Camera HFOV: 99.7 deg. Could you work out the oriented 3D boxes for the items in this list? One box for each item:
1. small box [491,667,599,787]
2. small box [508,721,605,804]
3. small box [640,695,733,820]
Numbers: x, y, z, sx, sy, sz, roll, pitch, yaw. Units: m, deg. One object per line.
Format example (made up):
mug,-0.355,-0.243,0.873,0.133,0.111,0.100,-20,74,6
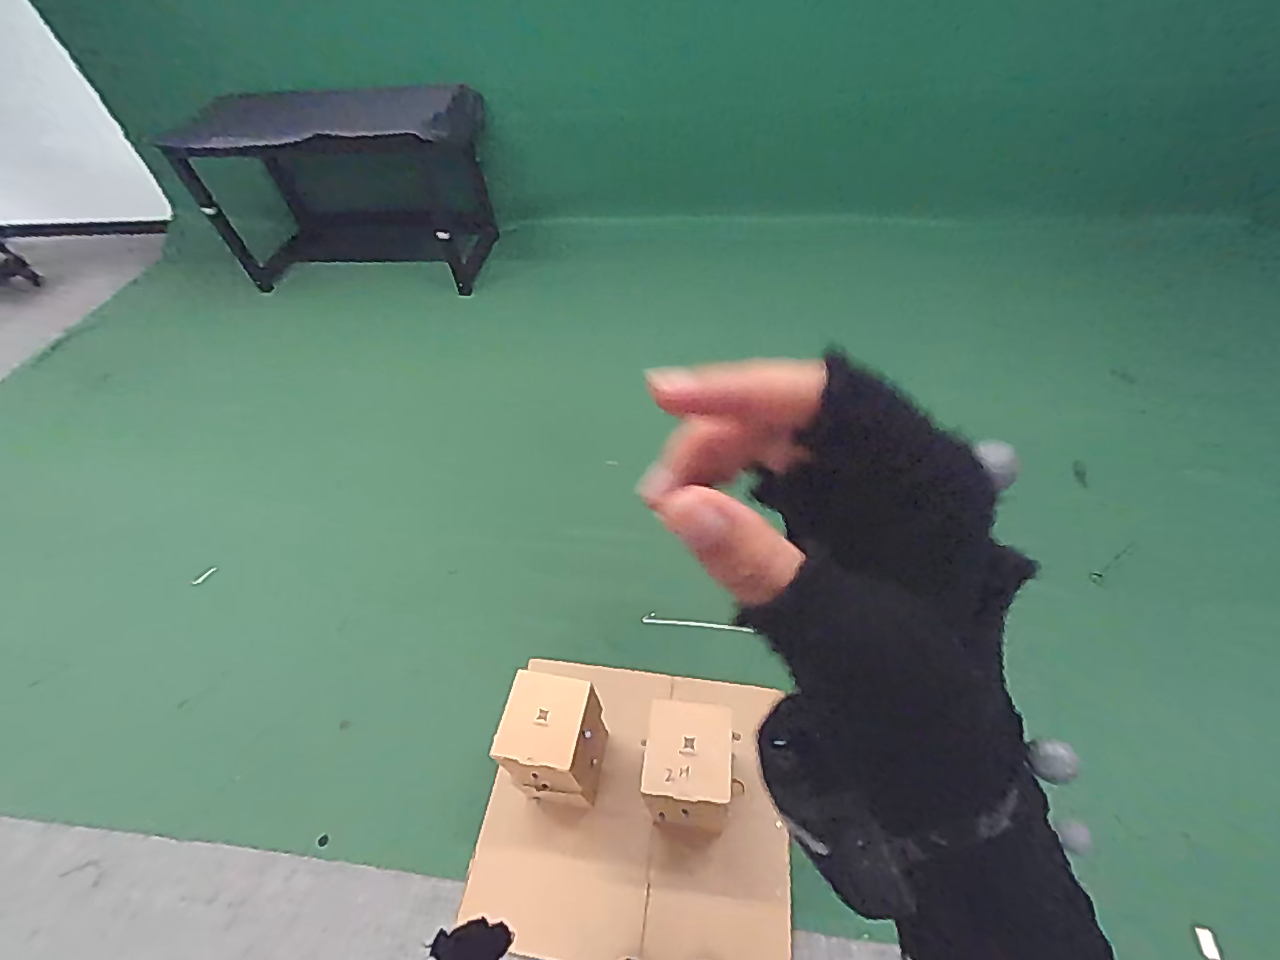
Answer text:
small box,-0.190,0.524,1.146,0.168,0.176,0.179,6,51,10
small box,-0.184,0.637,1.263,0.168,0.176,0.179,5,50,10
small box,0.097,0.559,1.088,0.168,0.176,0.179,3,50,9
